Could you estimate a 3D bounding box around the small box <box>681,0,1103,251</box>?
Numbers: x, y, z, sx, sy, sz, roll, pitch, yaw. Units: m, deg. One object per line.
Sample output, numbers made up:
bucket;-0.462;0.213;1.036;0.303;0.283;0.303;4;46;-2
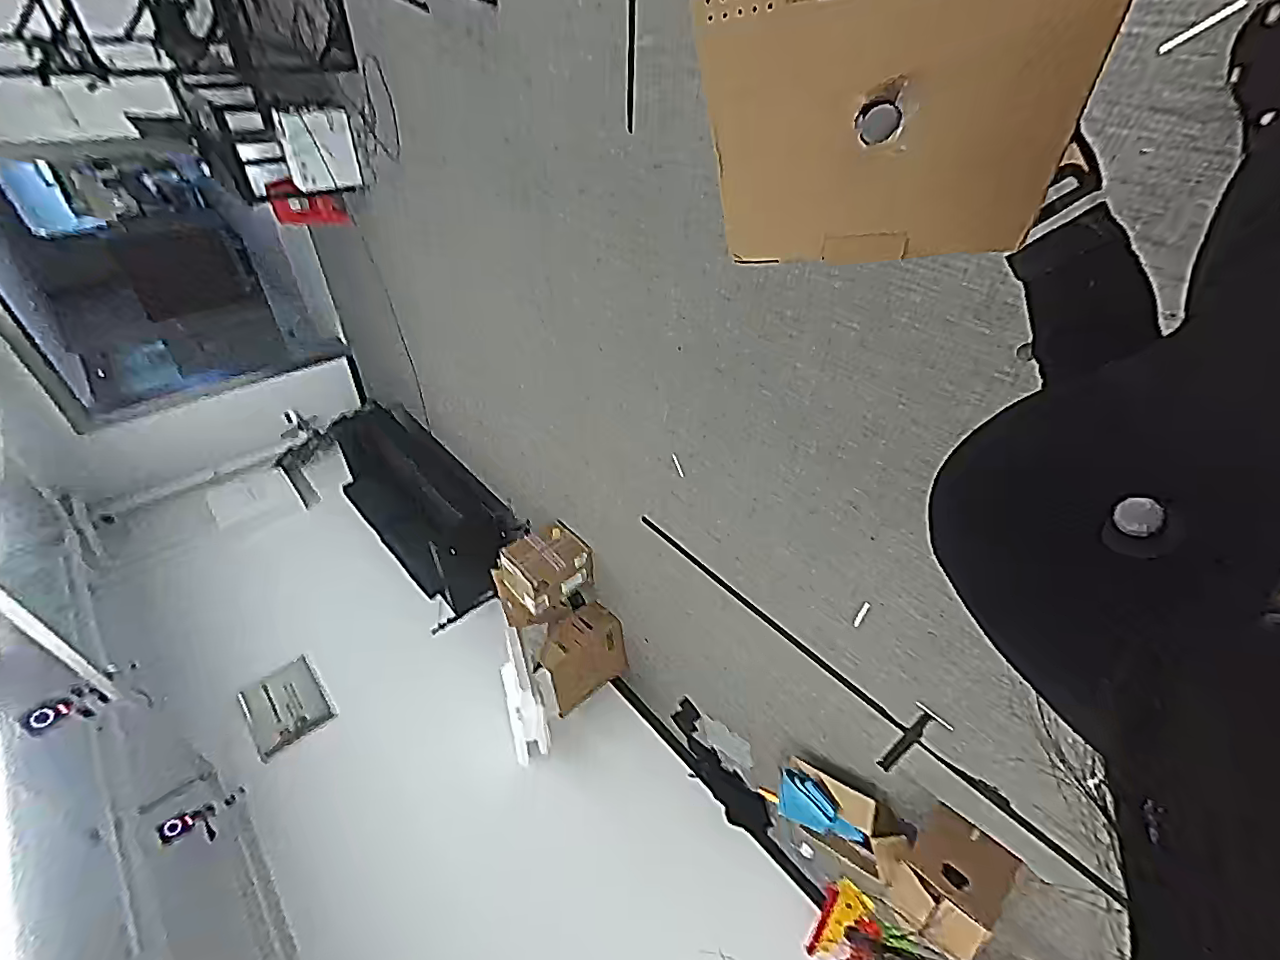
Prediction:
small box;0.123;-0.249;0.276;0.168;0.179;0.176;7;157;20
